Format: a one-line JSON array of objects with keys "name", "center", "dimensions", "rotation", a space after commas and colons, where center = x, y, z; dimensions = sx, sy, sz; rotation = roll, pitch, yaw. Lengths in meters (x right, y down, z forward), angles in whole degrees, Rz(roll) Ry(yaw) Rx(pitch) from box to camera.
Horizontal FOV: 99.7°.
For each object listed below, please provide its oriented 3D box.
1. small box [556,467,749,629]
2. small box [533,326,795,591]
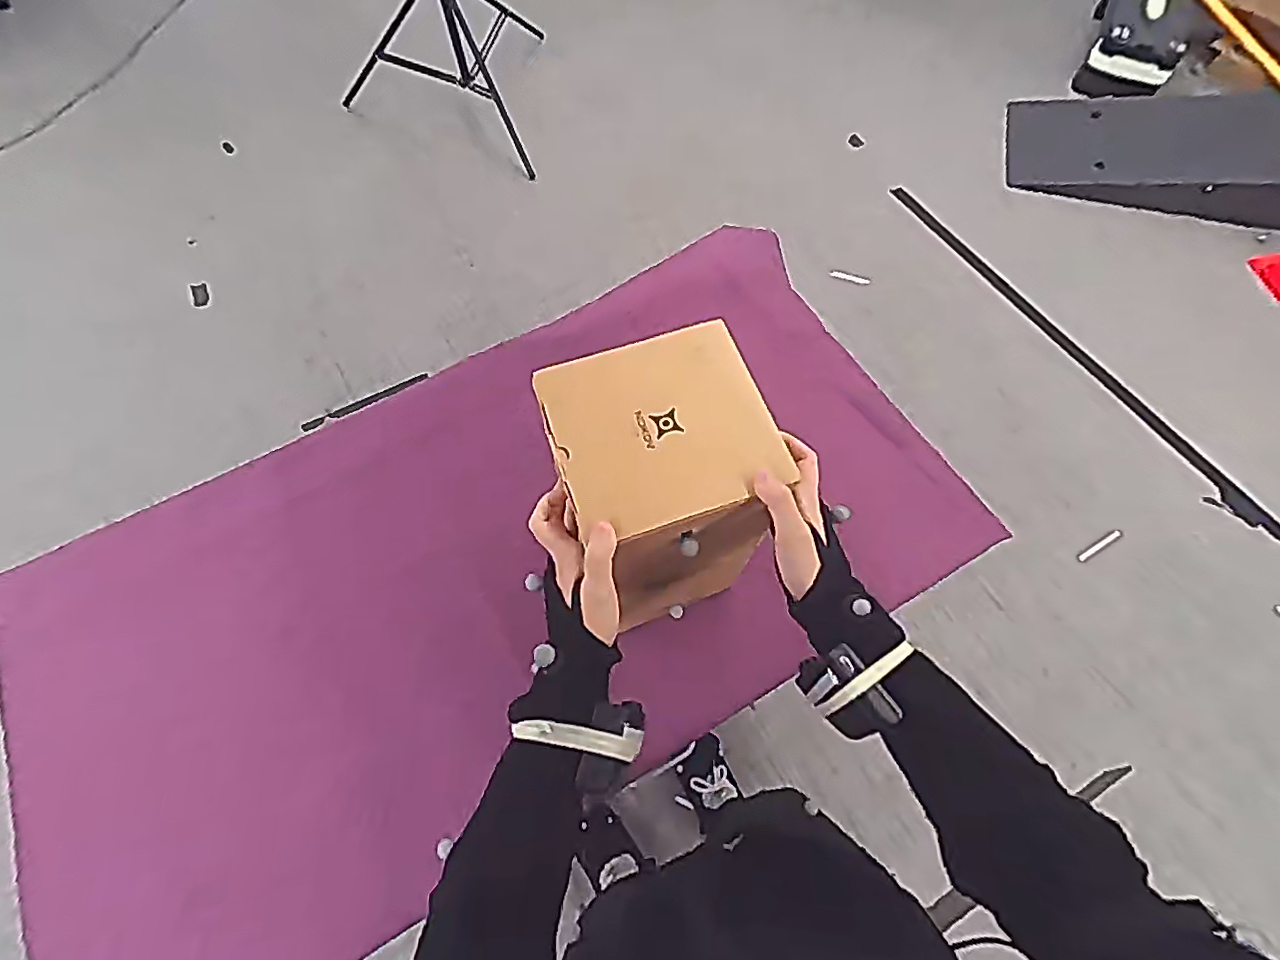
[{"name": "small box", "center": [0.009, 0.061, 0.656], "dimensions": [0.168, 0.176, 0.179], "rotation": [-20, 68, -7]}, {"name": "small box", "center": [0.016, -0.010, 0.510], "dimensions": [0.179, 0.176, 0.168], "rotation": [-18, 68, -6]}]
